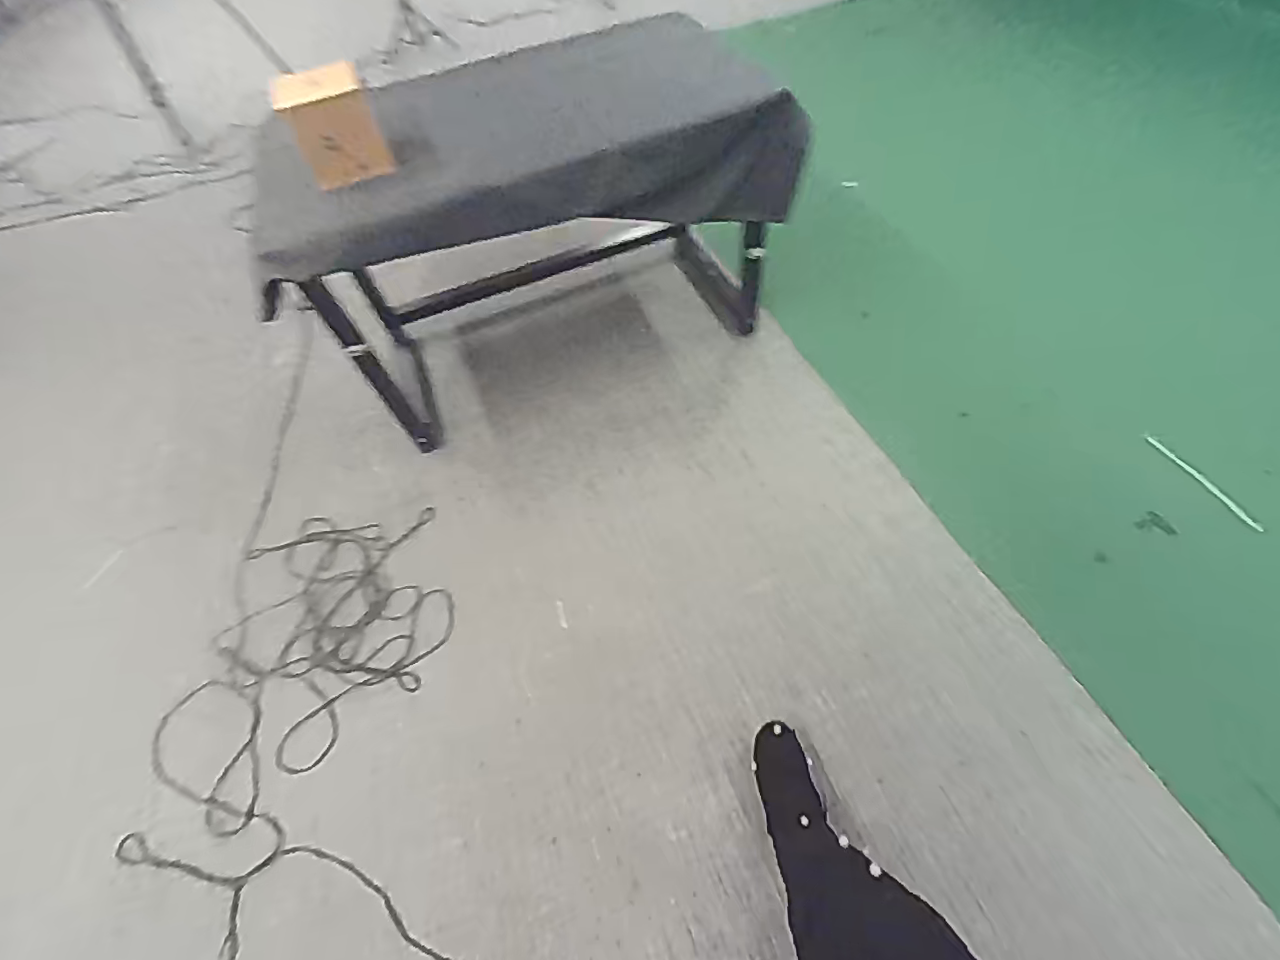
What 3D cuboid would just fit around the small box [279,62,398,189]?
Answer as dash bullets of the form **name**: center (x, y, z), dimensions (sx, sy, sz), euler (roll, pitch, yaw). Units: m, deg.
- **small box**: center (-0.648, -0.762, 1.176), dimensions (0.168, 0.176, 0.179), euler (-22, 56, -8)
